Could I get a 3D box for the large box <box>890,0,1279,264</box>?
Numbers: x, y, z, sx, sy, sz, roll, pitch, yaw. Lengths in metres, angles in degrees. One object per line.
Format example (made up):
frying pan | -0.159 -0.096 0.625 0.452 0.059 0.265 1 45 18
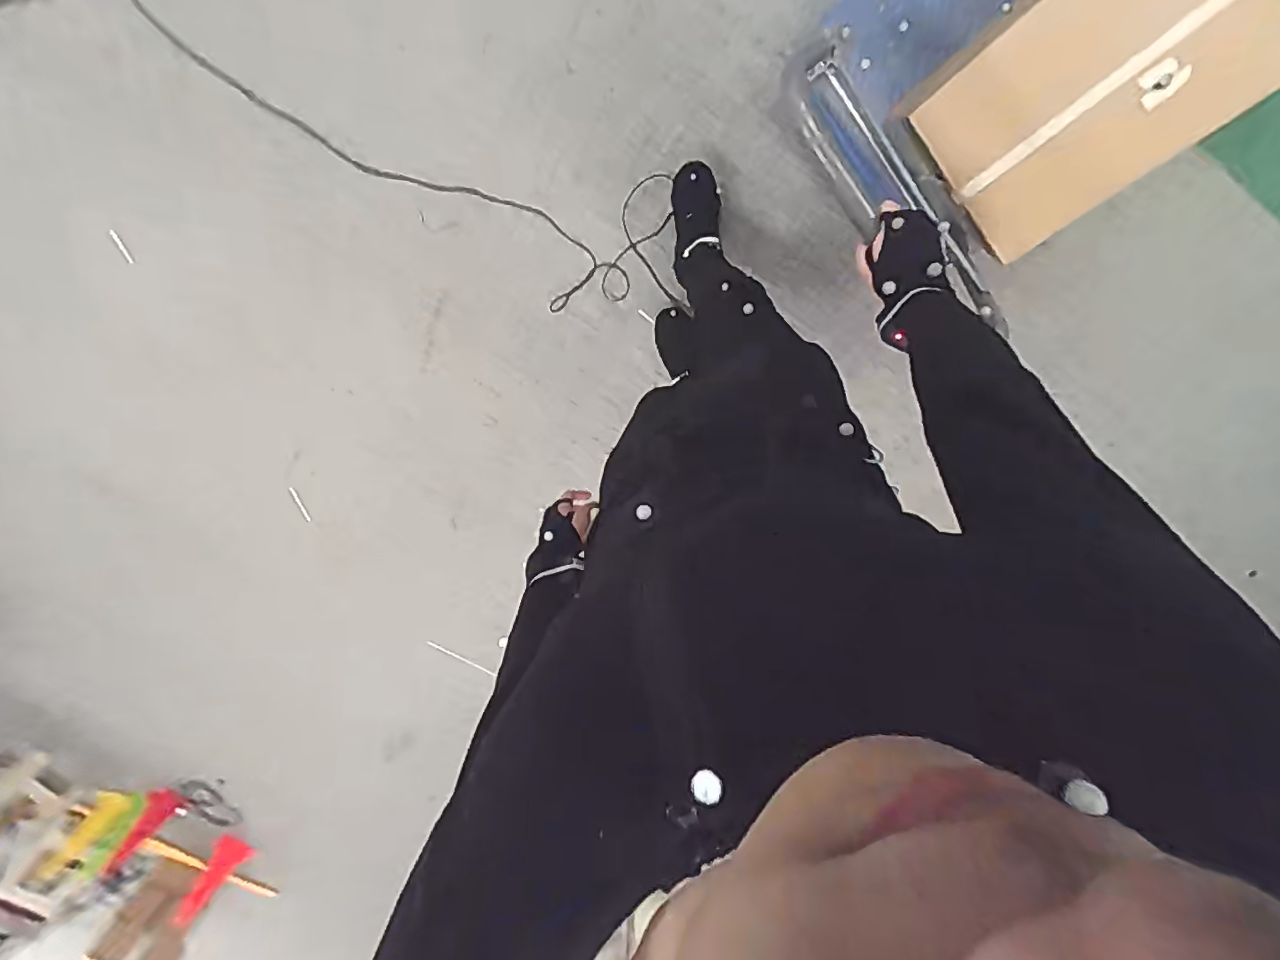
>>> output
large box | 0.719 -0.662 0.944 0.408 0.320 0.320 -35 108 32
